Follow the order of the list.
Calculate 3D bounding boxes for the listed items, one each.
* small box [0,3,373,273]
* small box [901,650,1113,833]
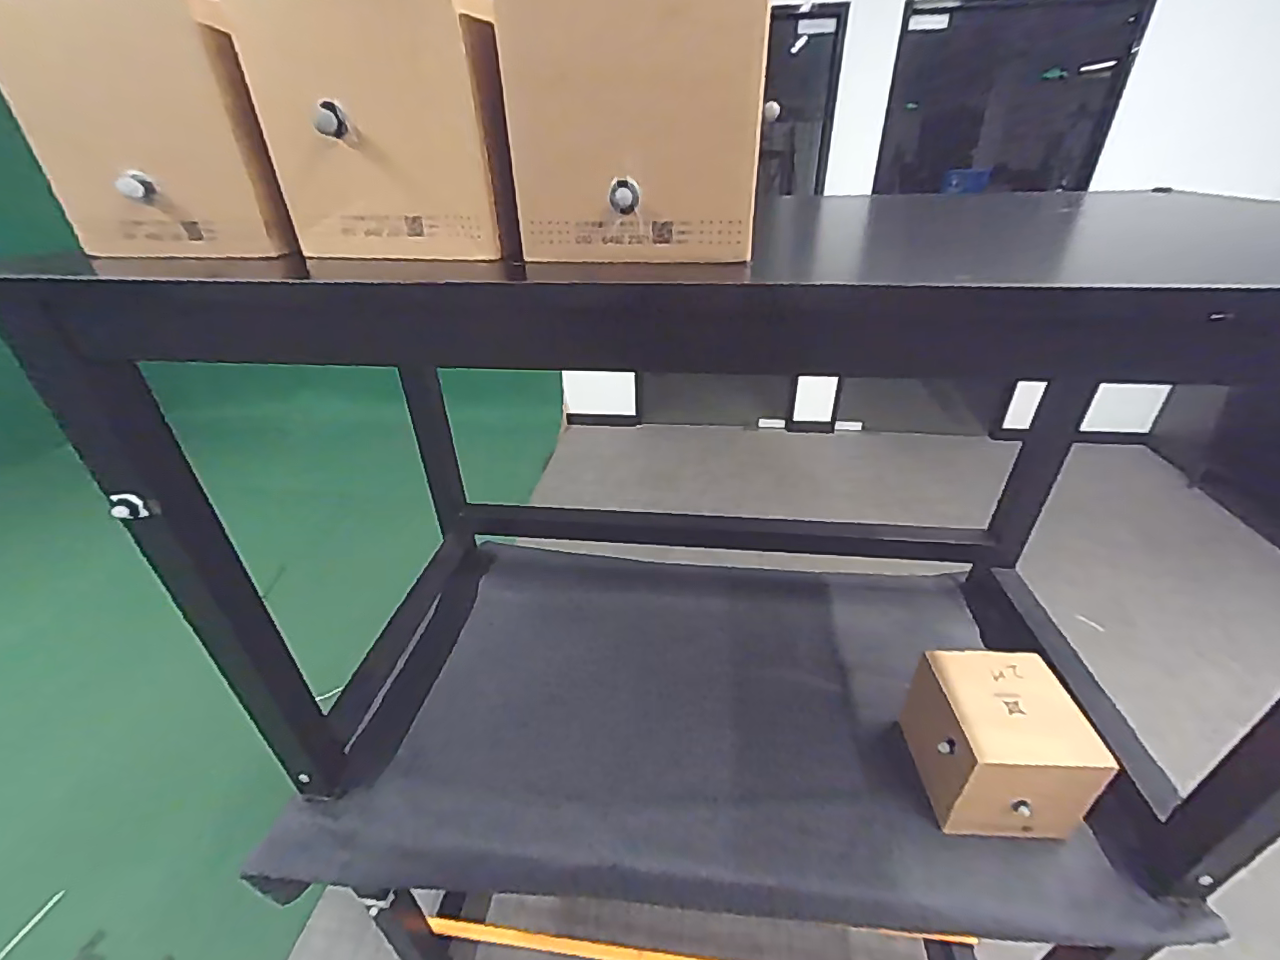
[{"bbox_3d":[-0.360,-0.287,0.470,0.168,0.176,0.179,2,33,5],"label":"small box"},{"bbox_3d":[0.496,0.367,0.765,0.168,0.176,0.179,1,31,3],"label":"small box"}]
